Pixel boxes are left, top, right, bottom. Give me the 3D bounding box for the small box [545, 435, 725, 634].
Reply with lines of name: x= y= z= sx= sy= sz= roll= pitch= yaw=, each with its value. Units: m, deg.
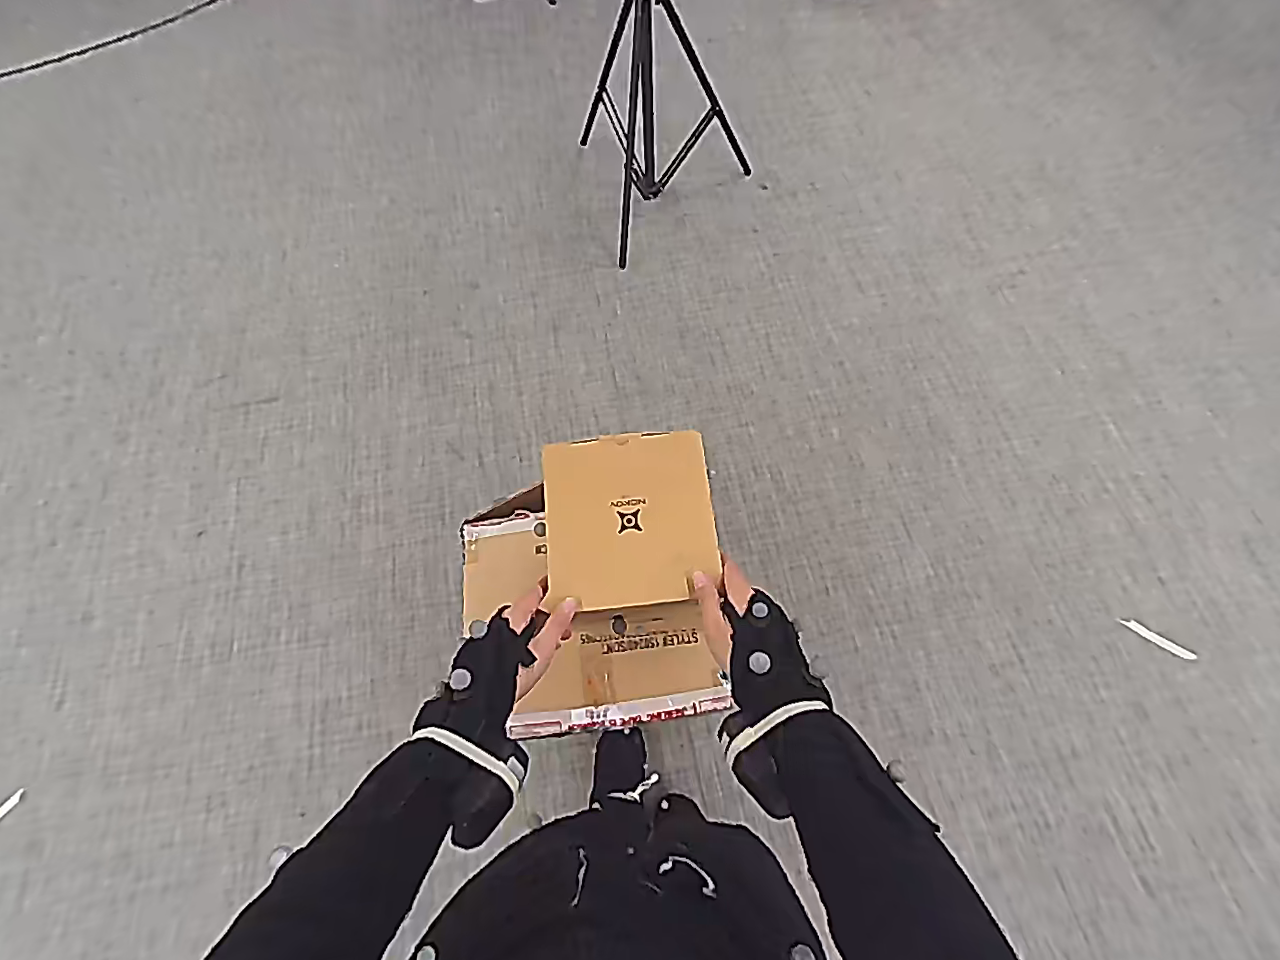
small box: x=-0.006 y=0.071 z=0.601 sx=0.168 sy=0.176 sz=0.179 roll=-7 pitch=67 yaw=-1
